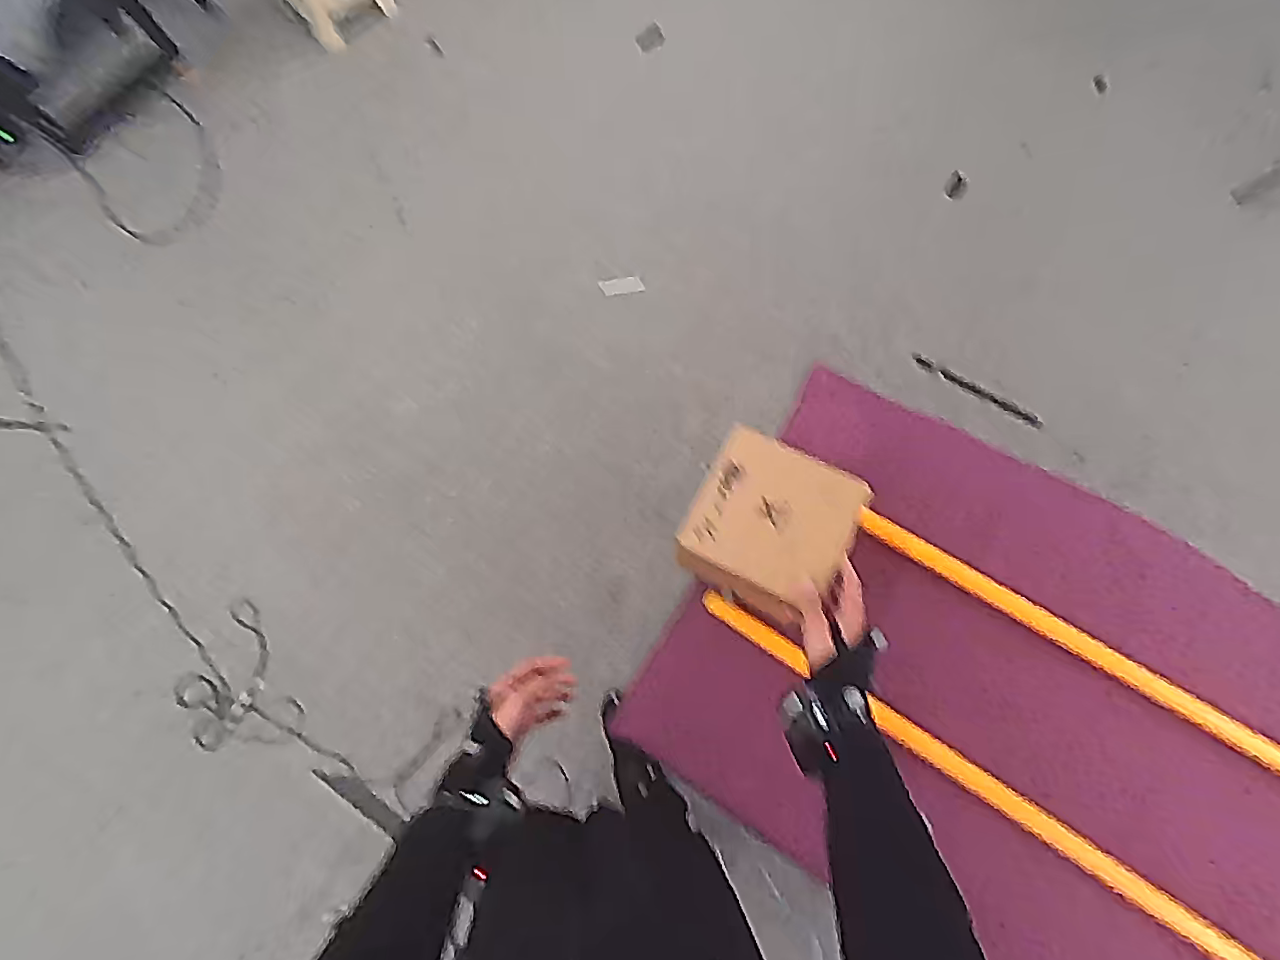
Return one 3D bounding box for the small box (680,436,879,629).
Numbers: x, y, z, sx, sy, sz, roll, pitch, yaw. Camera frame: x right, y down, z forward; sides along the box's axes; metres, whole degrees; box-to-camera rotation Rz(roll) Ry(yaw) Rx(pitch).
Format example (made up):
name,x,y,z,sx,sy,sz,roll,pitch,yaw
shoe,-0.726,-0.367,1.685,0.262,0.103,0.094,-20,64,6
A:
name,x,y,z,sx,sy,sz,roll,pitch,yaw
small box,0.165,0.075,0.693,0.179,0.176,0.168,28,76,11
